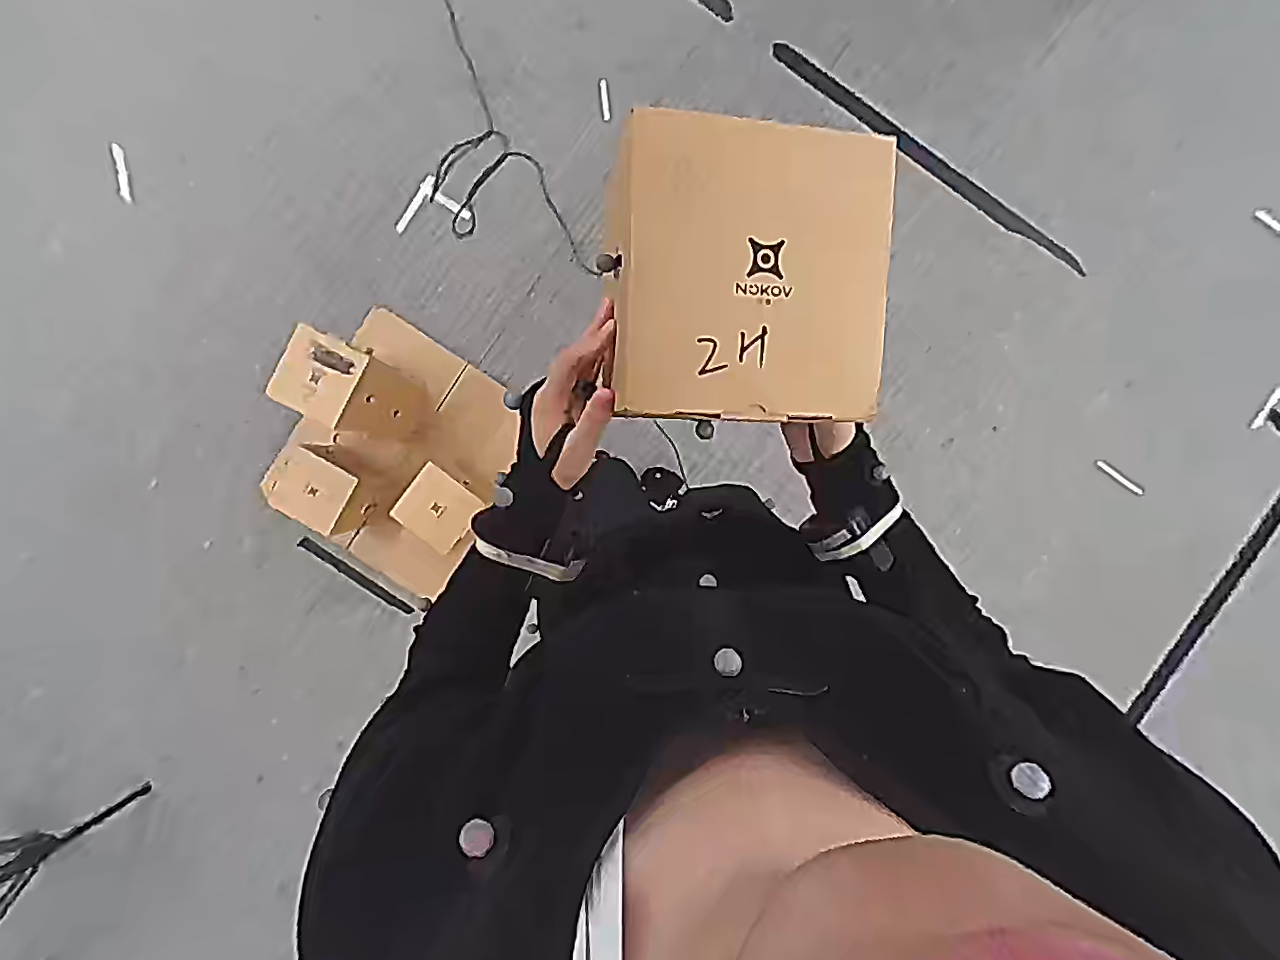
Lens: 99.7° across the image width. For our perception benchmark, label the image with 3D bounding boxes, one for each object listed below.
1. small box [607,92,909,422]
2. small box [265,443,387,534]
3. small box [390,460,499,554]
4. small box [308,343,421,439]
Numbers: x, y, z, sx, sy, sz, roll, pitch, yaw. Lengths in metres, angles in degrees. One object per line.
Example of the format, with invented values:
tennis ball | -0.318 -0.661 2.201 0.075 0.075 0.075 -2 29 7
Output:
small box | 0.066 -0.136 0.399 0.168 0.176 0.179 2 96 -9
small box | -0.792 0.019 1.381 0.179 0.176 0.168 28 93 -2
small box | -0.490 0.066 1.384 0.179 0.176 0.168 37 91 -3
small box | -0.686 -0.218 1.374 0.168 0.176 0.179 29 91 -1
